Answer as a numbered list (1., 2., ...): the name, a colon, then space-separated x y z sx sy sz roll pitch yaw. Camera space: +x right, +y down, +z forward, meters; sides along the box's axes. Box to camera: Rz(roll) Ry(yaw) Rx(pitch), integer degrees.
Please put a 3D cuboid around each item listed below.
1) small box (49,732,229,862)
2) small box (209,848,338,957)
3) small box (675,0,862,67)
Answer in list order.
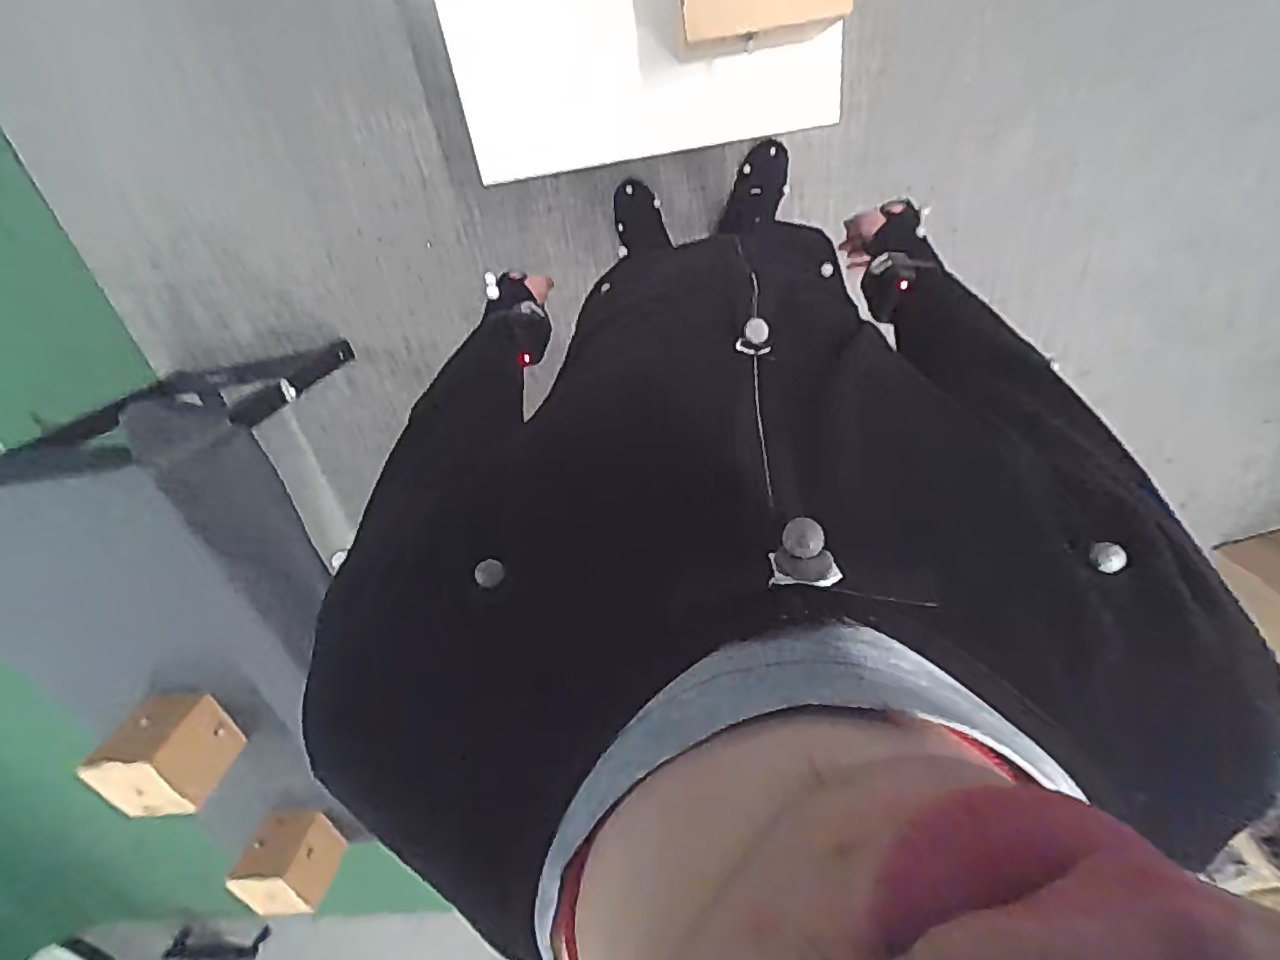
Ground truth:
1. small box: -1.006 0.638 1.106 0.168 0.176 0.179 -8 119 4
2. small box: -0.897 1.043 1.344 0.168 0.176 0.179 -9 121 6
3. small box: 0.125 -0.566 0.578 0.179 0.176 0.168 -8 120 3
